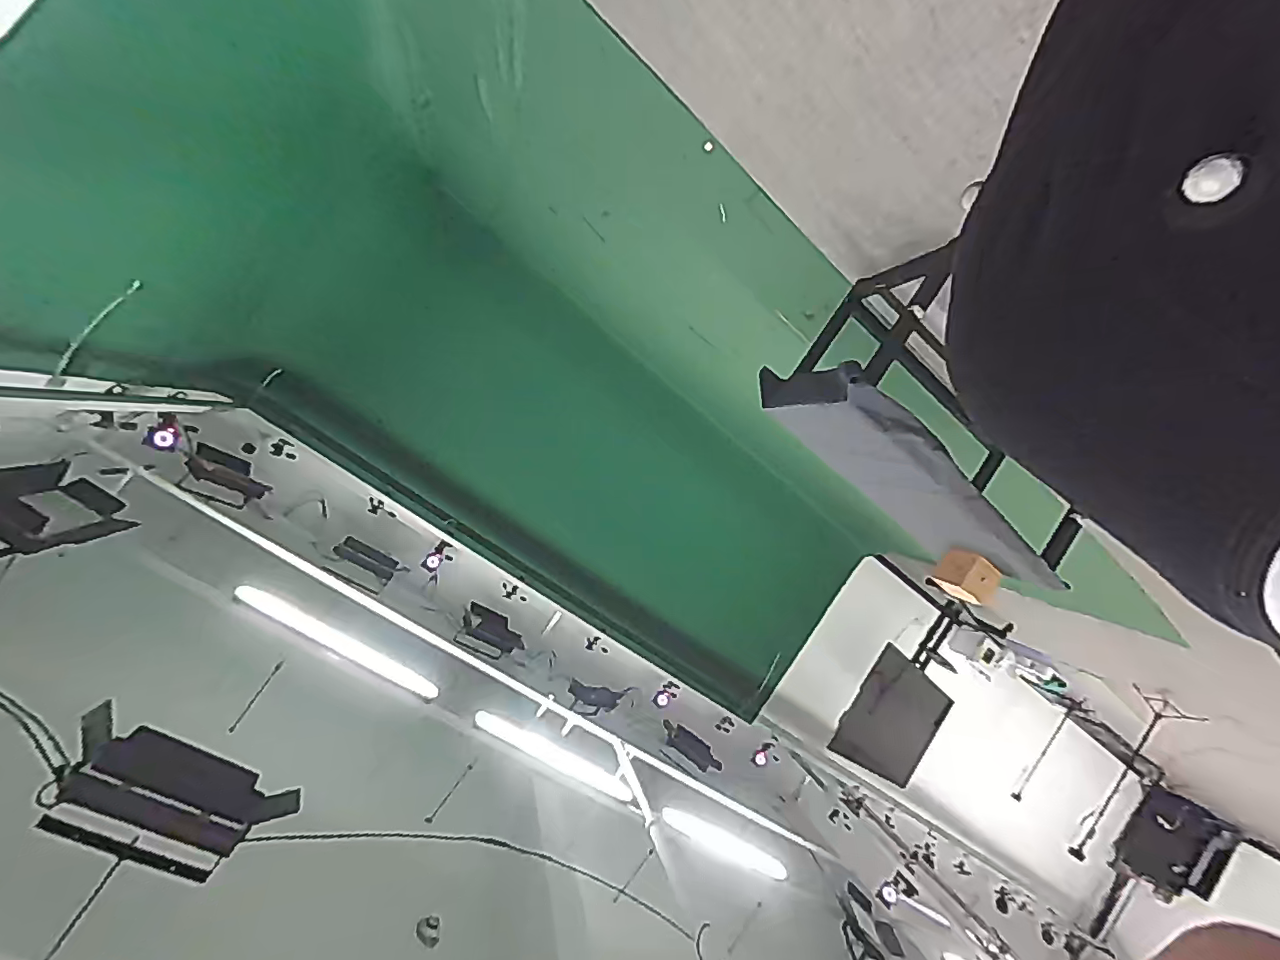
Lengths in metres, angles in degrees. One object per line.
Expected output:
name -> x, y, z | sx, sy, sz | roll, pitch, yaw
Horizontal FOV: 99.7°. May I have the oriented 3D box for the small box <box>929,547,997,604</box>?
small box -> 1.438, 0.418, 2.392 | 0.168, 0.176, 0.179 | 38, 174, -15
